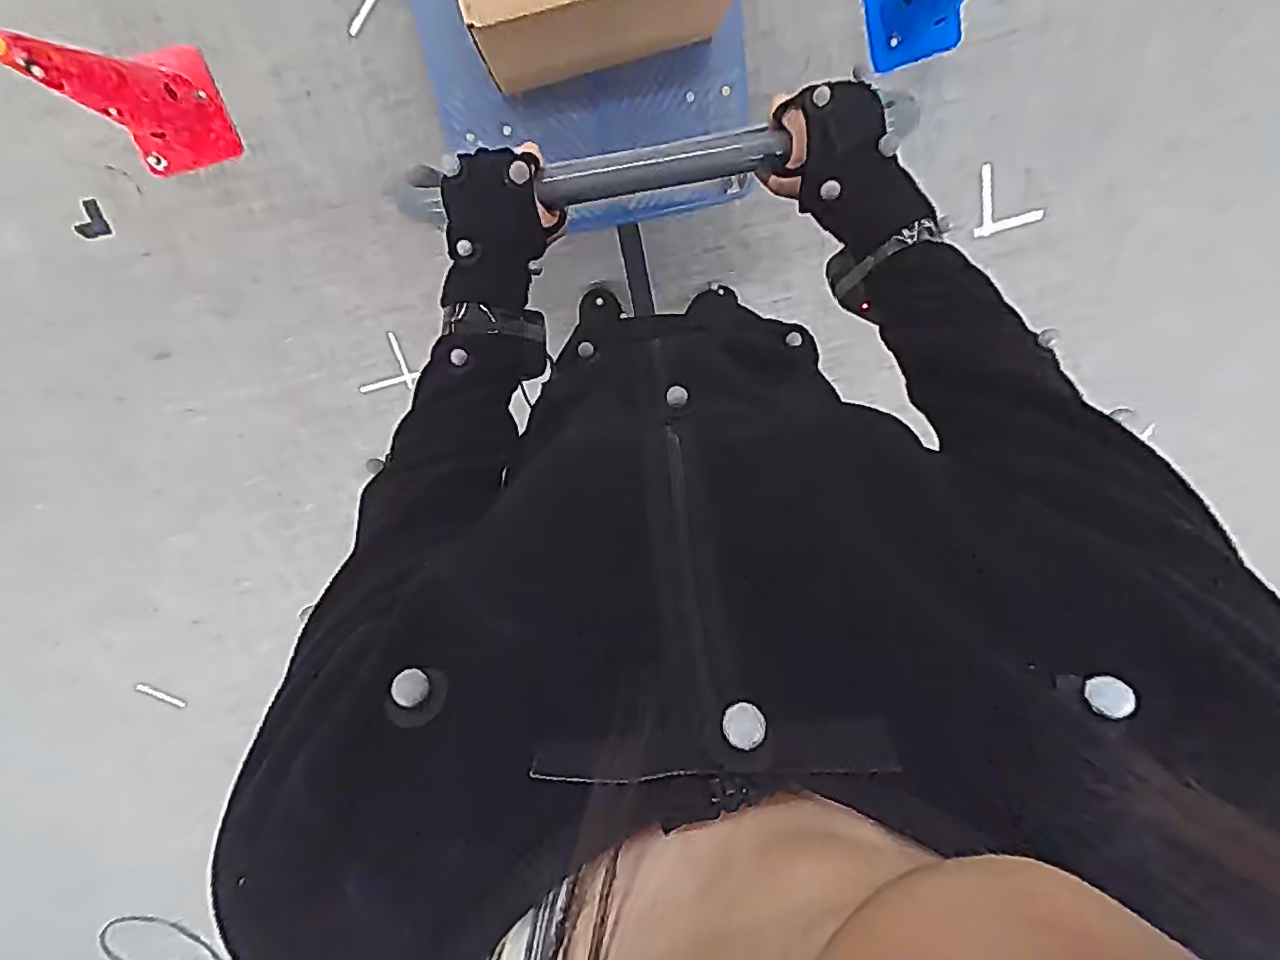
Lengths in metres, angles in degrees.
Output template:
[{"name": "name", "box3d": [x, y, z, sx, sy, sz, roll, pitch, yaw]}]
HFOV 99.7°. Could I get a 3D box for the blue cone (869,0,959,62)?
[{"name": "blue cone", "box3d": [0.593, -0.953, 0.987, 0.193, 0.380, 0.192, -17, 110, 1]}]
